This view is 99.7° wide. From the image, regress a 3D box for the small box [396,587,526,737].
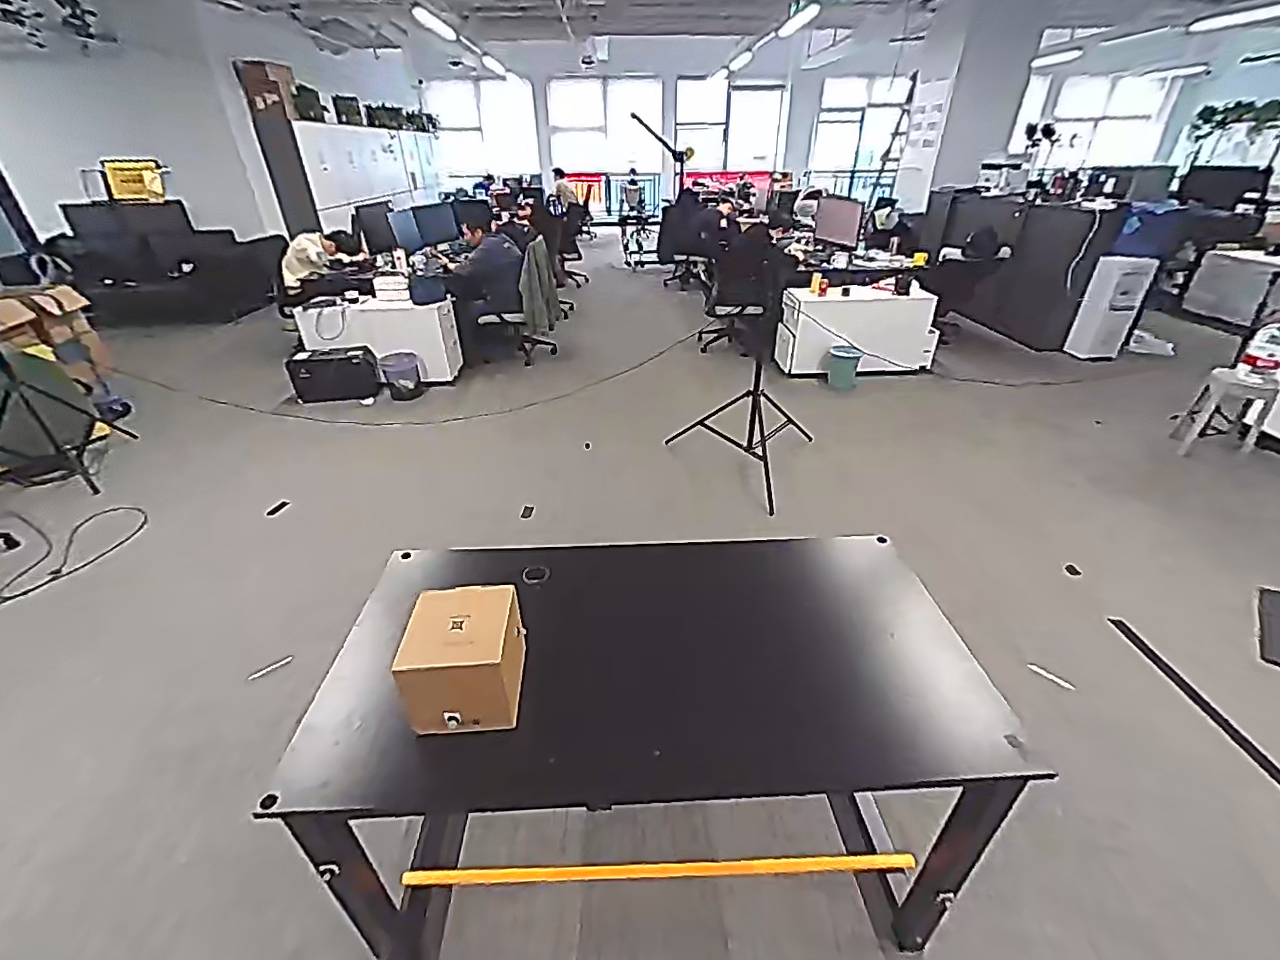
[{"bbox_3d":[-0.293,0.309,0.929,0.168,0.176,0.179,-4,32,-4],"label":"small box"}]
